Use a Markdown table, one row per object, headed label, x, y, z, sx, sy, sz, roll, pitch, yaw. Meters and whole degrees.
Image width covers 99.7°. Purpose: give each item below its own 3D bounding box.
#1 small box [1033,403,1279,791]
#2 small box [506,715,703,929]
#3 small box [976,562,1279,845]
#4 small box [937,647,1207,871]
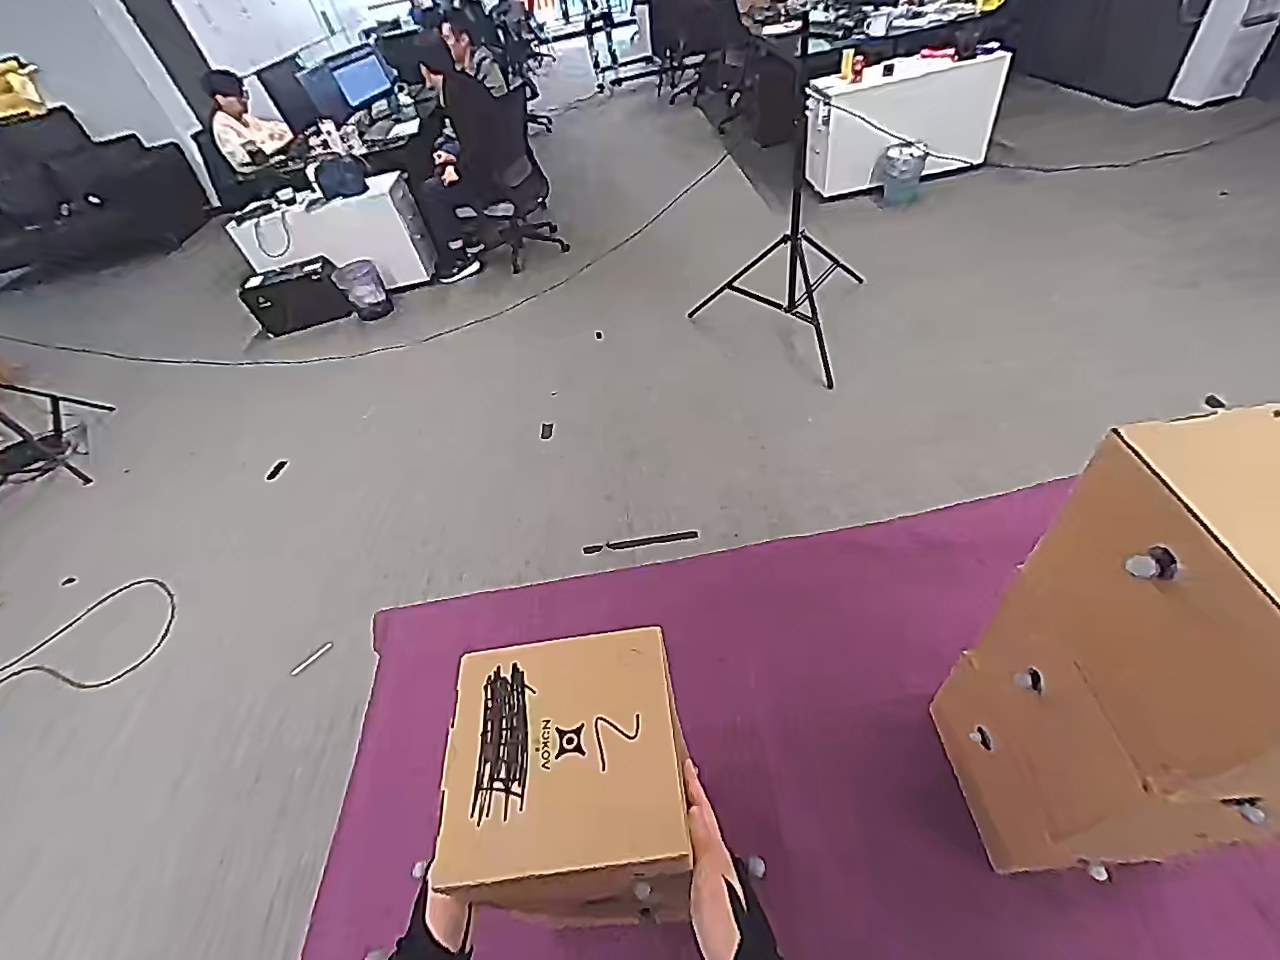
| label | x | y | z | sx | sy | sz | roll | pitch | yaw |
| --- | --- | --- | --- | --- | --- | --- | --- | --- | --- |
| small box | 0.388 | 0.073 | 0.327 | 0.168 | 0.176 | 0.179 | -8 | 45 | 7 |
| small box | -0.026 | 0.377 | 0.593 | 0.179 | 0.176 | 0.168 | -9 | 45 | 6 |
| small box | 0.415 | 0.179 | 0.448 | 0.168 | 0.176 | 0.179 | -8 | 45 | 7 |
| small box | 0.442 | 0.287 | 0.569 | 0.168 | 0.176 | 0.179 | -9 | 46 | 5 |
